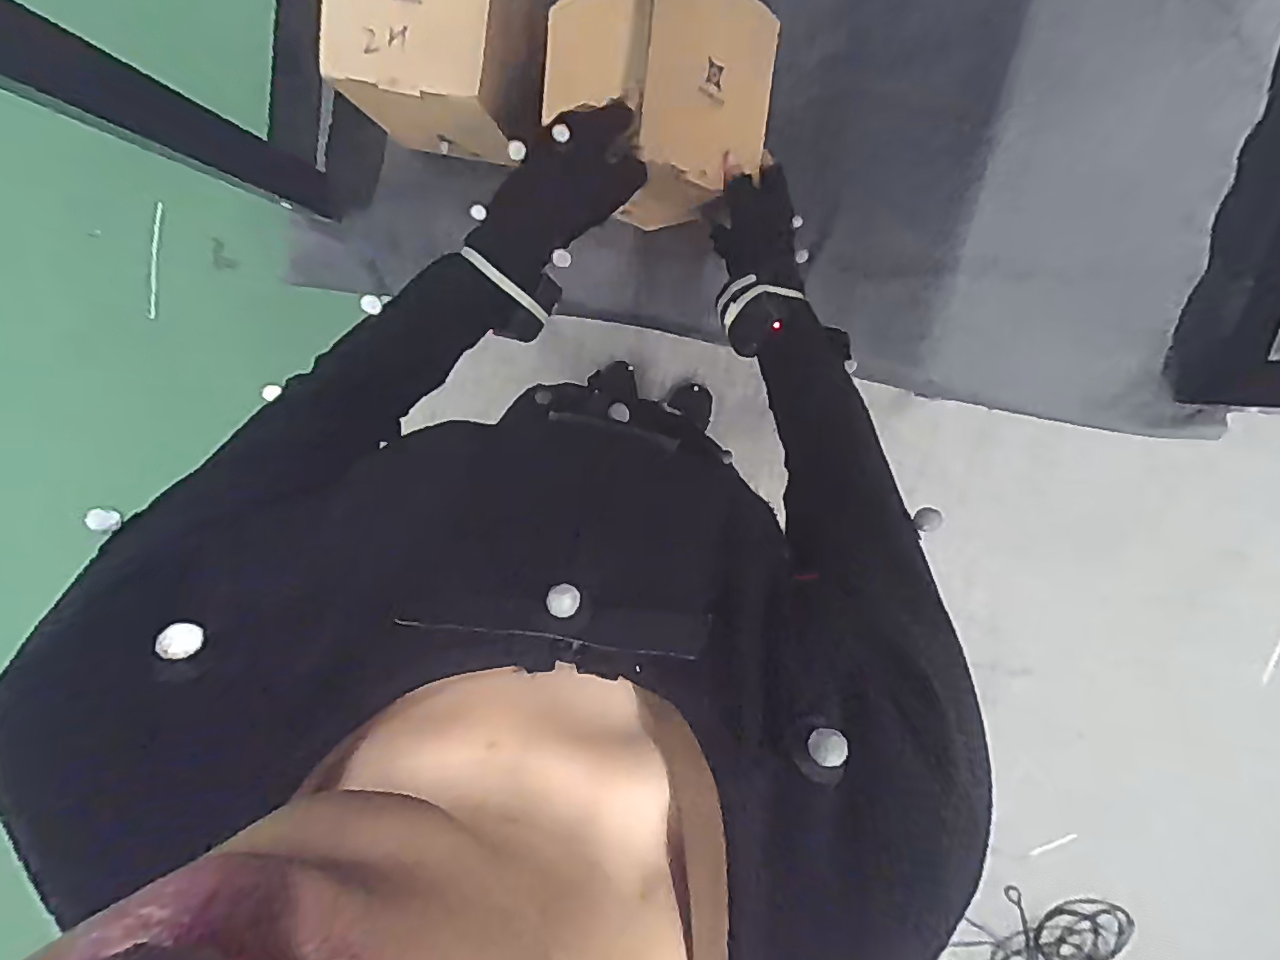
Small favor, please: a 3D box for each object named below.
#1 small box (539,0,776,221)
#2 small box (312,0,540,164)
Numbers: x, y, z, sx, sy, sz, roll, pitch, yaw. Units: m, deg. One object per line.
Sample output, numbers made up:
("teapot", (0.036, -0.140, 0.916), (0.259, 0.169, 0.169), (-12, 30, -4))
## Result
("small box", (0.012, -0.385, 0.549), (0.176, 0.168, 0.179), (17, 105, 46))
("small box", (-0.215, -0.479, 0.583), (0.168, 0.176, 0.179), (12, 100, 3))
